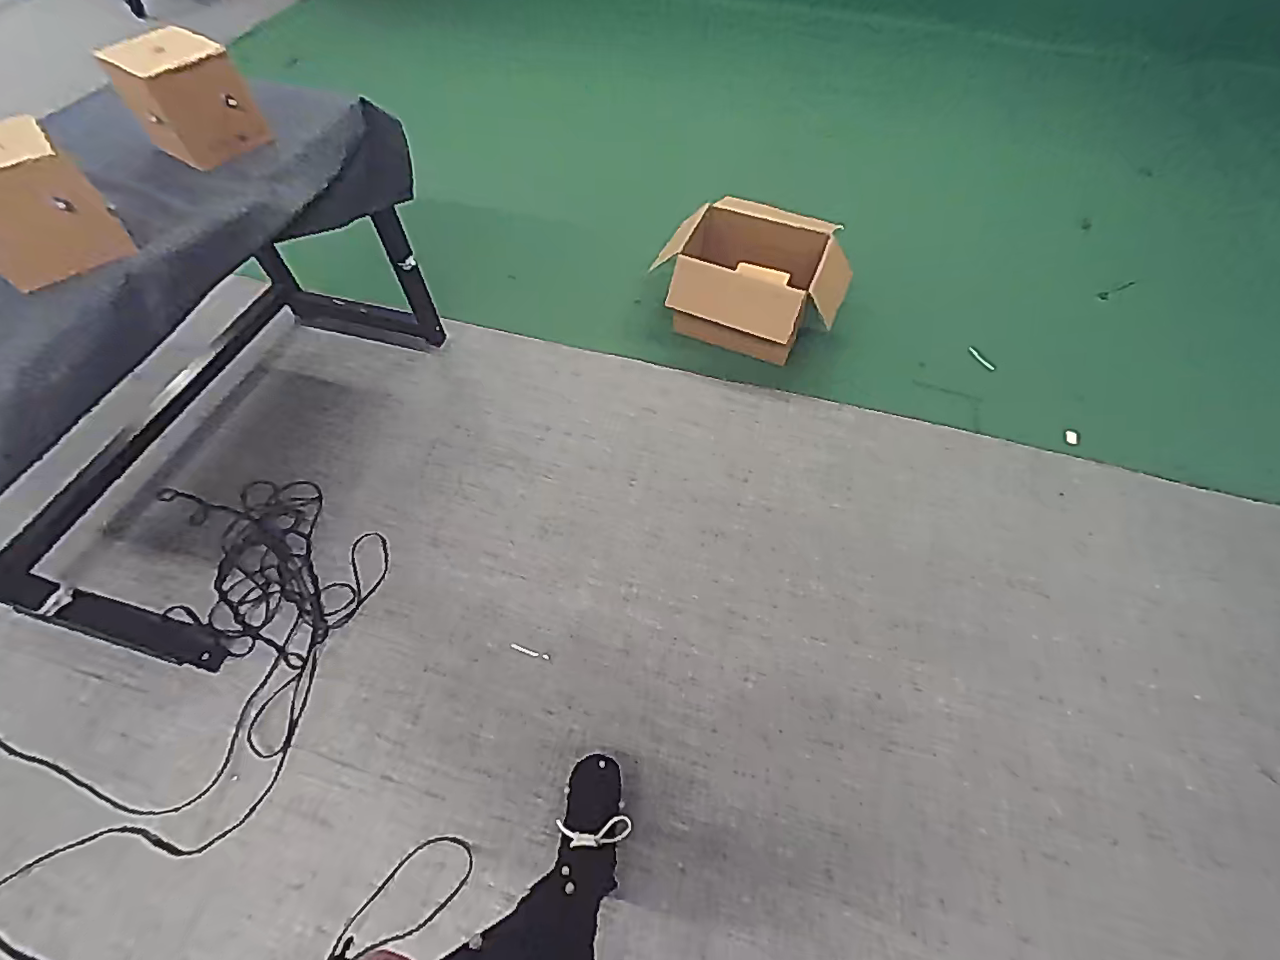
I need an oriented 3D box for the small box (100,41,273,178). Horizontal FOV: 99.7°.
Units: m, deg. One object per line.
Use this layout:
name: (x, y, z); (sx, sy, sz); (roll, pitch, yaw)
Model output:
small box: (-0.894, -0.738, 1.086); (0.179, 0.176, 0.168); (29, 60, 19)
